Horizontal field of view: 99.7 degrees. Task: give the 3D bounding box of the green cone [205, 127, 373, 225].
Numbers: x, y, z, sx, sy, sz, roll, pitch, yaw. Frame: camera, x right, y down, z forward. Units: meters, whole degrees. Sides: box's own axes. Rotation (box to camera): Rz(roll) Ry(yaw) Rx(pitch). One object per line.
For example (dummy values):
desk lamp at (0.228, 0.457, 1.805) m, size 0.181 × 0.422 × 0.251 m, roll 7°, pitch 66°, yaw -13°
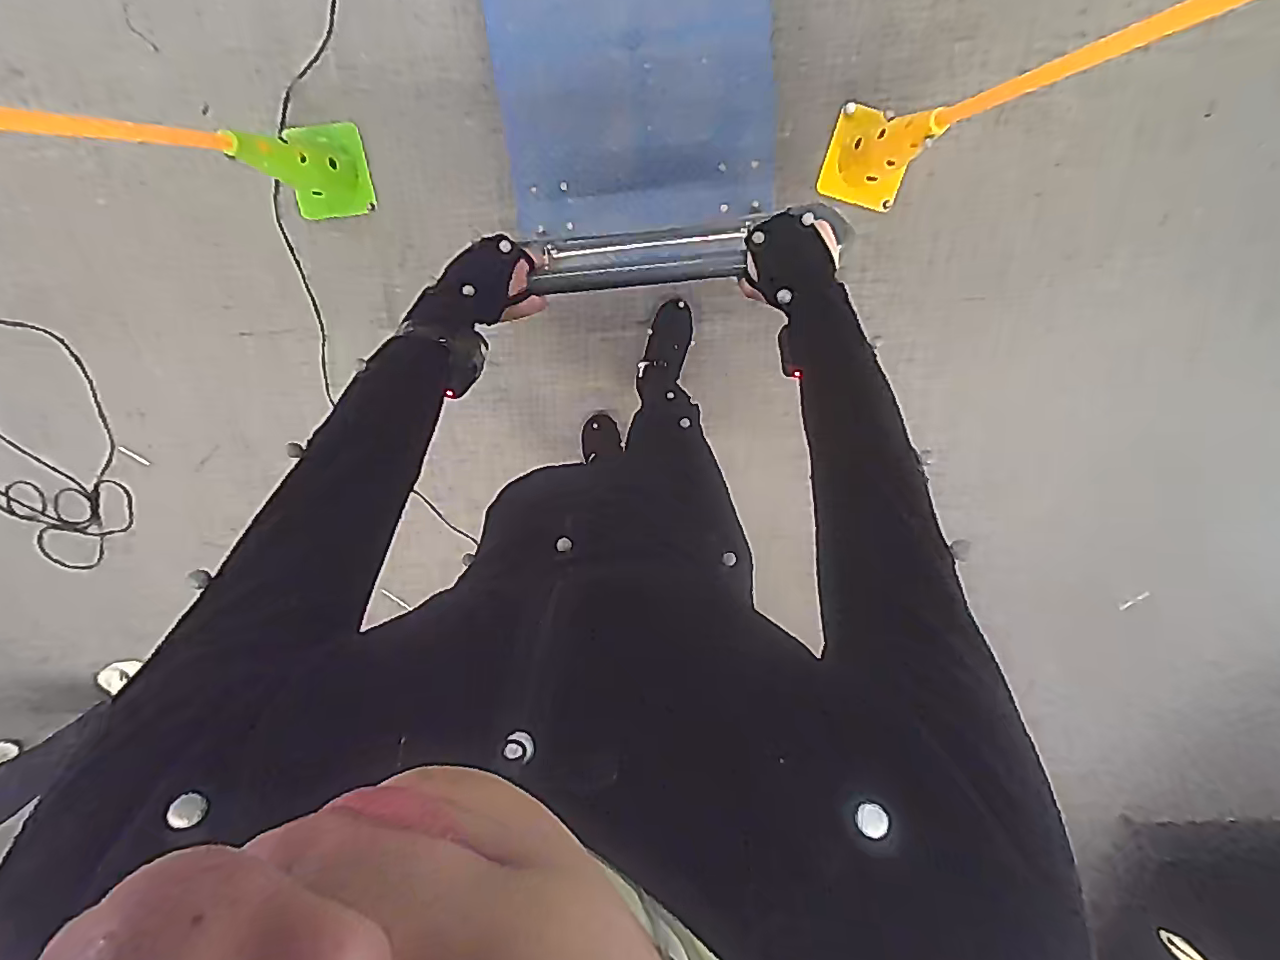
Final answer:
green cone at (-0.785, -0.692, 1.180) m, size 0.202 × 0.368 × 0.200 m, roll -5°, pitch 110°, yaw 5°
